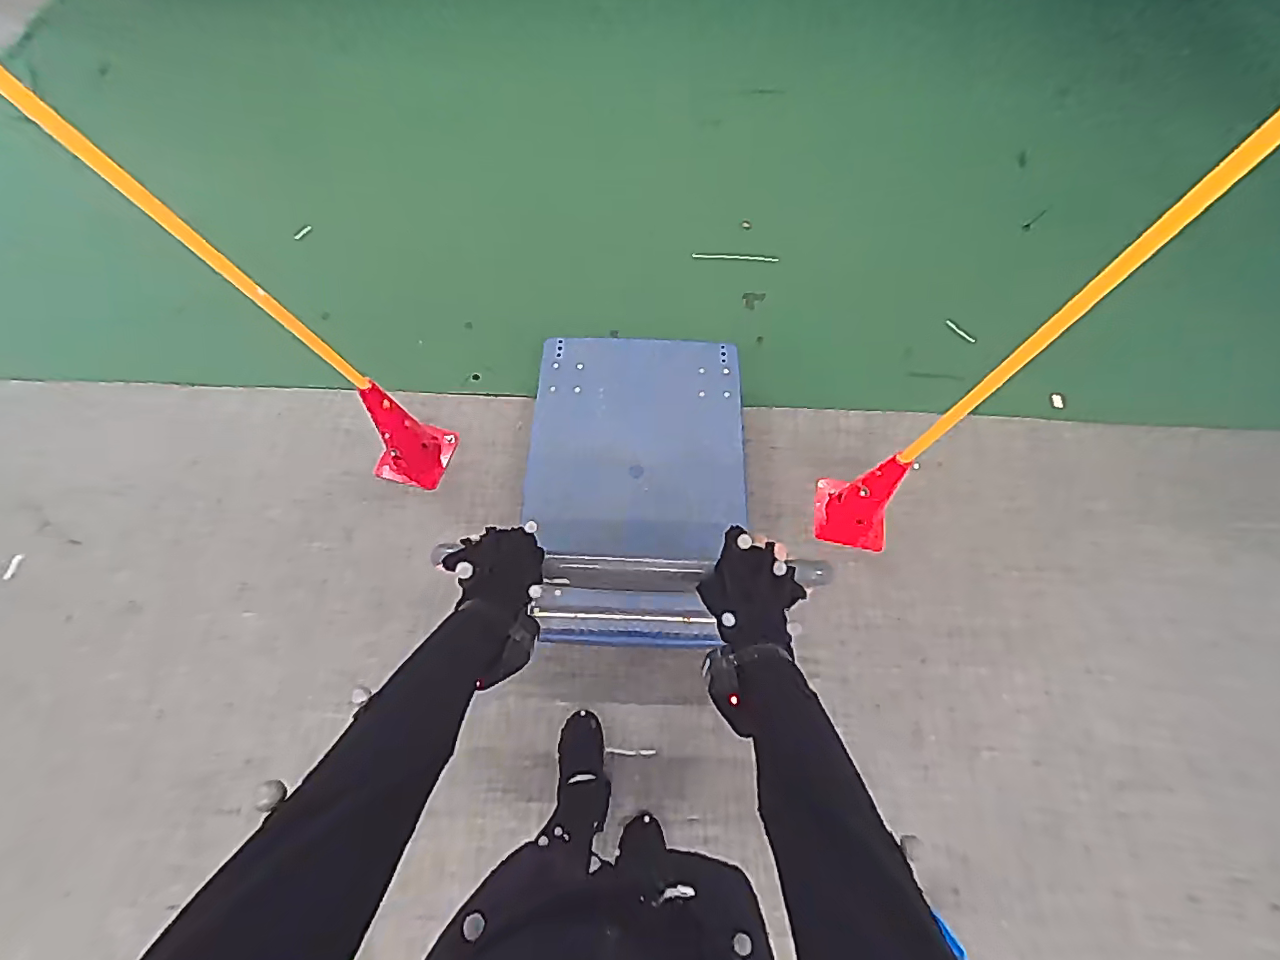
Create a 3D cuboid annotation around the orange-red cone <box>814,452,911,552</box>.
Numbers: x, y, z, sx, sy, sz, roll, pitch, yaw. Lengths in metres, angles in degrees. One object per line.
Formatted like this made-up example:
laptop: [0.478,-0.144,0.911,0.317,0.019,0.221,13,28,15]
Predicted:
orange-red cone: [0.611,0.027,1.407,0.198,0.360,0.199,12,65,6]
